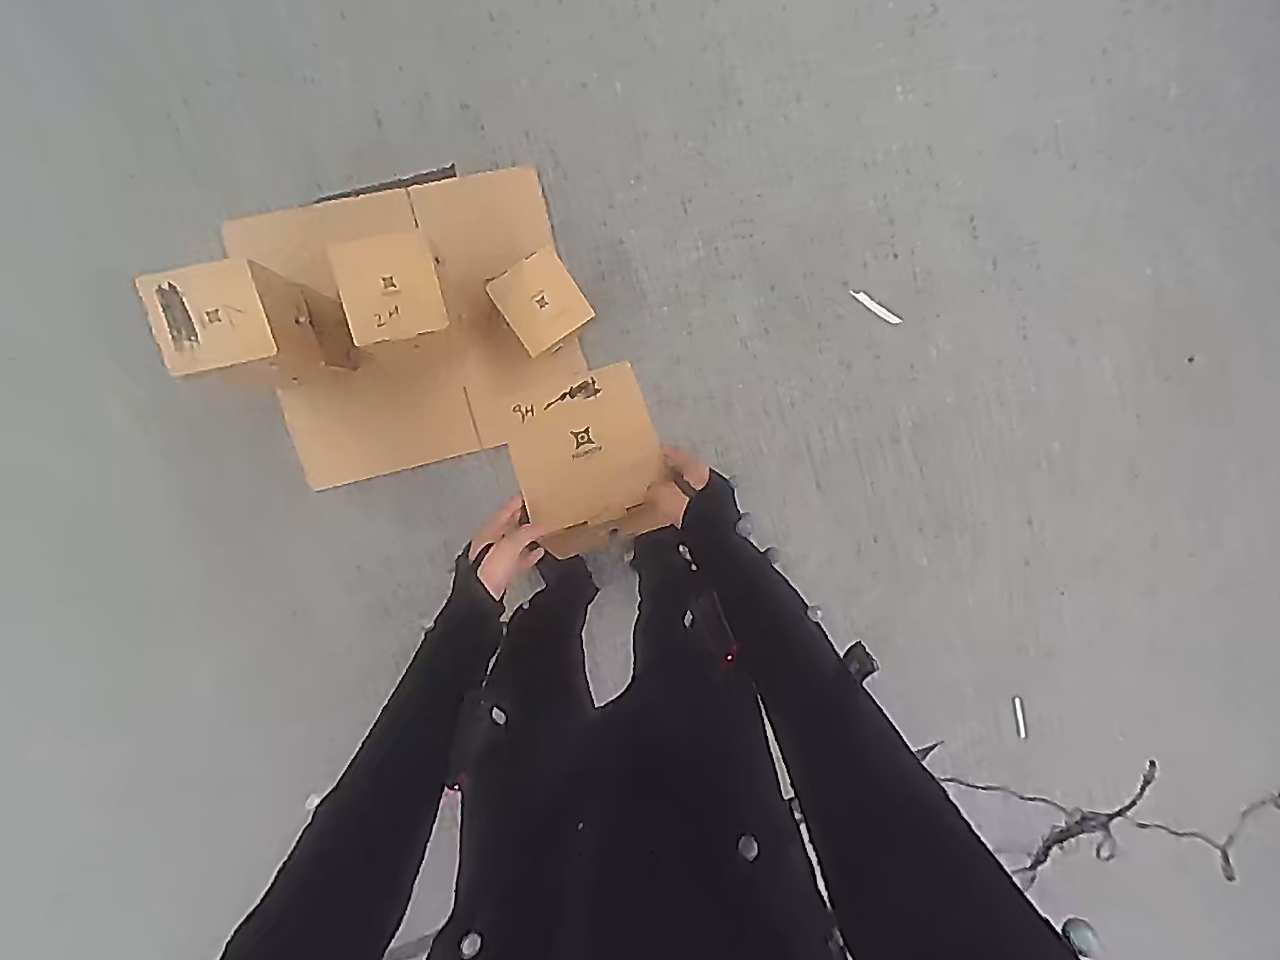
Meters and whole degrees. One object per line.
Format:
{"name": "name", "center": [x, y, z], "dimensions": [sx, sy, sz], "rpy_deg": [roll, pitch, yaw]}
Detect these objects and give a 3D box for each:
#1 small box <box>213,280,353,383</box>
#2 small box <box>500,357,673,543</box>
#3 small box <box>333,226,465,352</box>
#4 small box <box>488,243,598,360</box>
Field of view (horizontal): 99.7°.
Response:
{"name": "small box", "center": [-0.730, -0.303, 1.134], "dimensions": [0.179, 0.176, 0.168], "rpy_deg": [-15, 99, -6]}
{"name": "small box", "center": [-0.061, -0.025, 0.698], "dimensions": [0.168, 0.176, 0.179], "rpy_deg": [-18, 75, -4]}
{"name": "small box", "center": [-0.438, -0.347, 1.011], "dimensions": [0.168, 0.176, 0.179], "rpy_deg": [-13, 100, -8]}
{"name": "small box", "center": [-0.214, -0.388, 1.210], "dimensions": [0.168, 0.176, 0.179], "rpy_deg": [-35, 100, -3]}
